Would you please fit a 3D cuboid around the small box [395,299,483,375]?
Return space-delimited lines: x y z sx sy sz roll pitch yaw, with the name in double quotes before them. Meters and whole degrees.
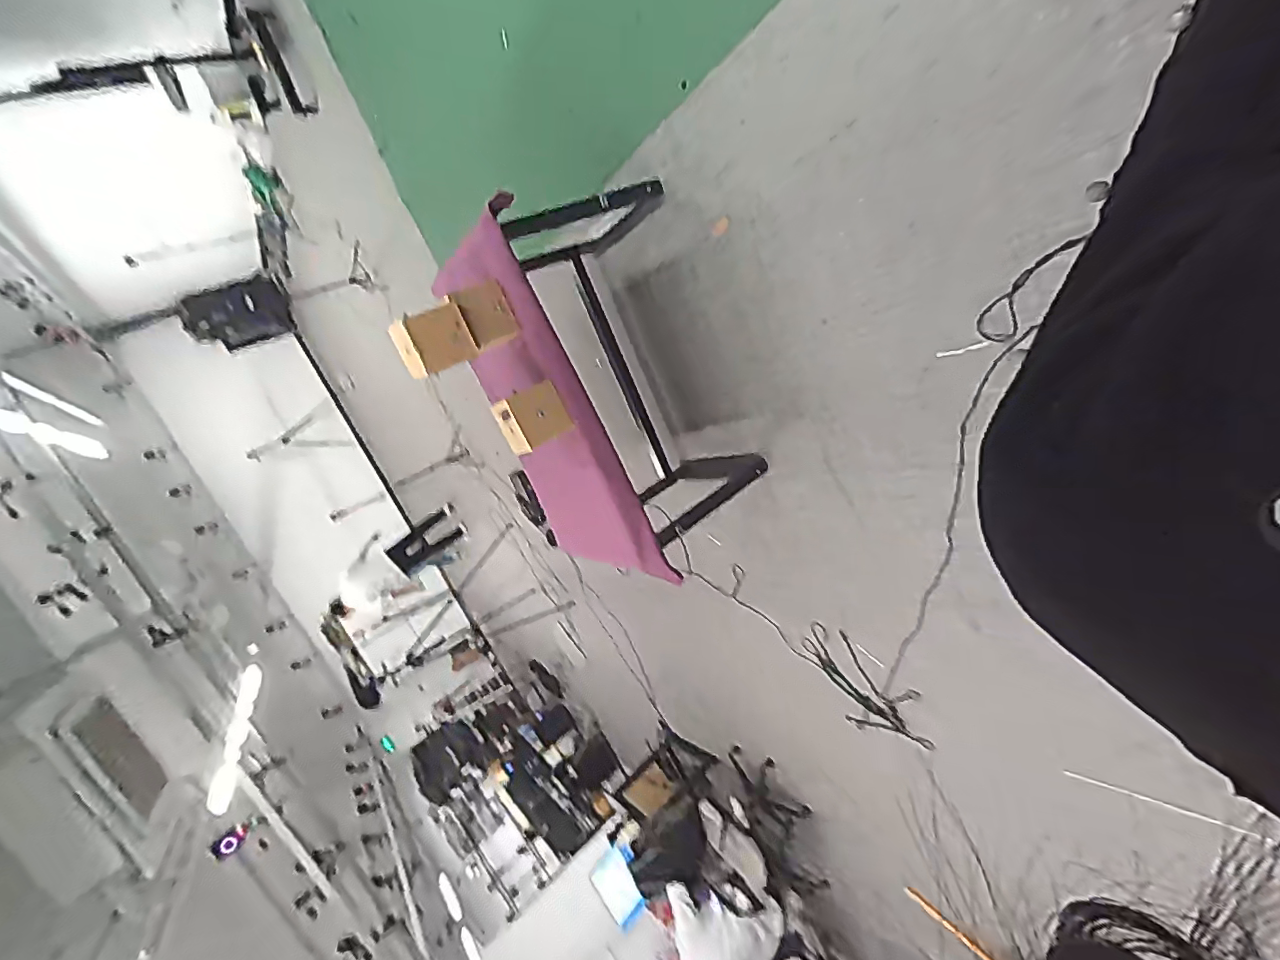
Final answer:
"small box" -0.594 -0.422 1.605 0.179 0.176 0.168 8 125 54

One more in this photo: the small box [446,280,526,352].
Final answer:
"small box" -0.488 -0.509 1.697 0.168 0.176 0.179 -3 115 59
